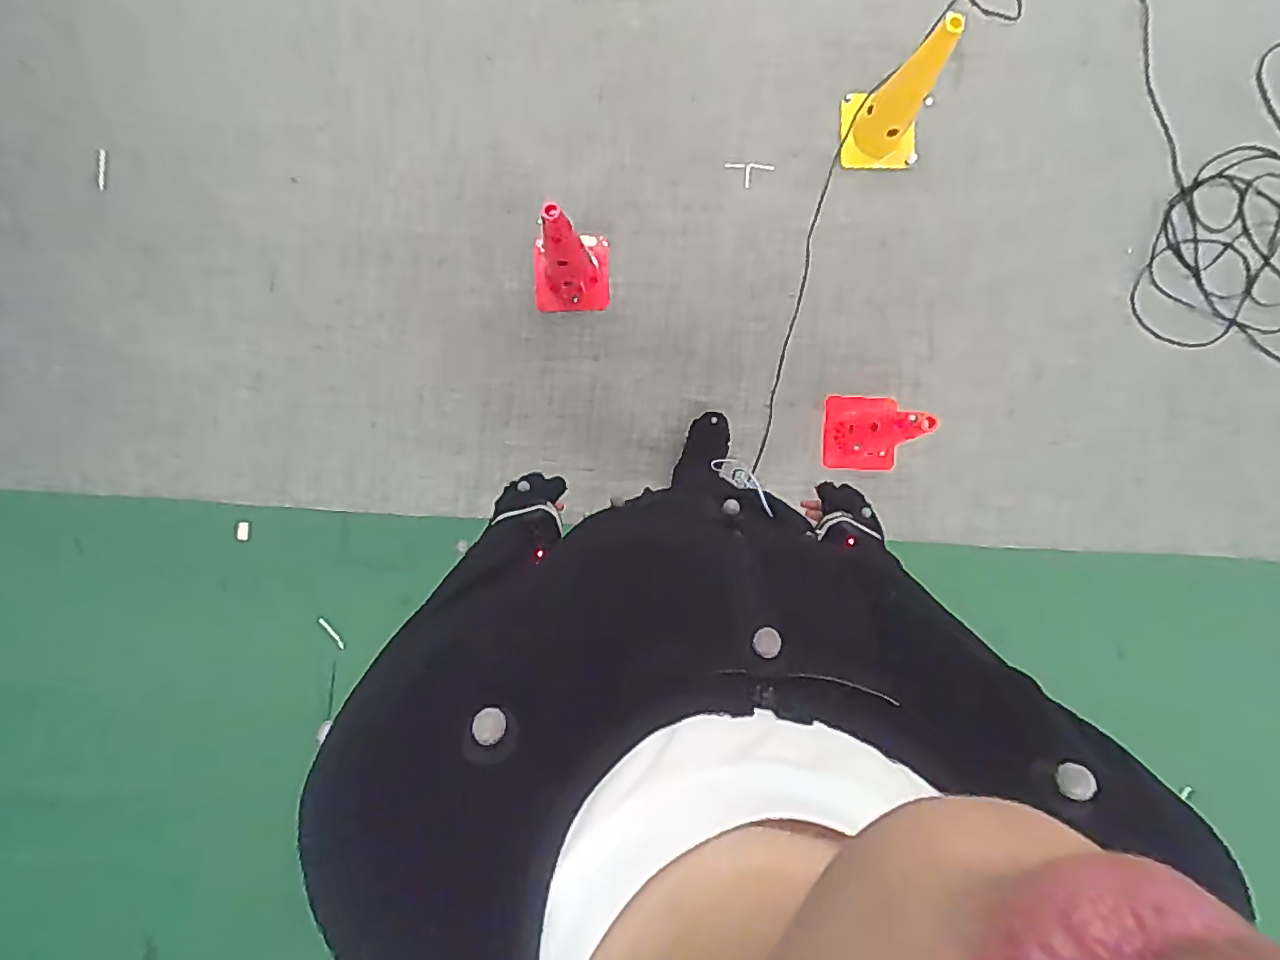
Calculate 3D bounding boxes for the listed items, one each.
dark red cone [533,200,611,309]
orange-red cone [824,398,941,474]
[{"bbox_3d":[-0.179,-0.549,1.268,0.202,0.394,0.201,-3,92,0],"label":"dark red cone"},{"bbox_3d":[0.604,-0.121,1.300,0.198,0.360,0.199,4,90,-1],"label":"orange-red cone"}]
